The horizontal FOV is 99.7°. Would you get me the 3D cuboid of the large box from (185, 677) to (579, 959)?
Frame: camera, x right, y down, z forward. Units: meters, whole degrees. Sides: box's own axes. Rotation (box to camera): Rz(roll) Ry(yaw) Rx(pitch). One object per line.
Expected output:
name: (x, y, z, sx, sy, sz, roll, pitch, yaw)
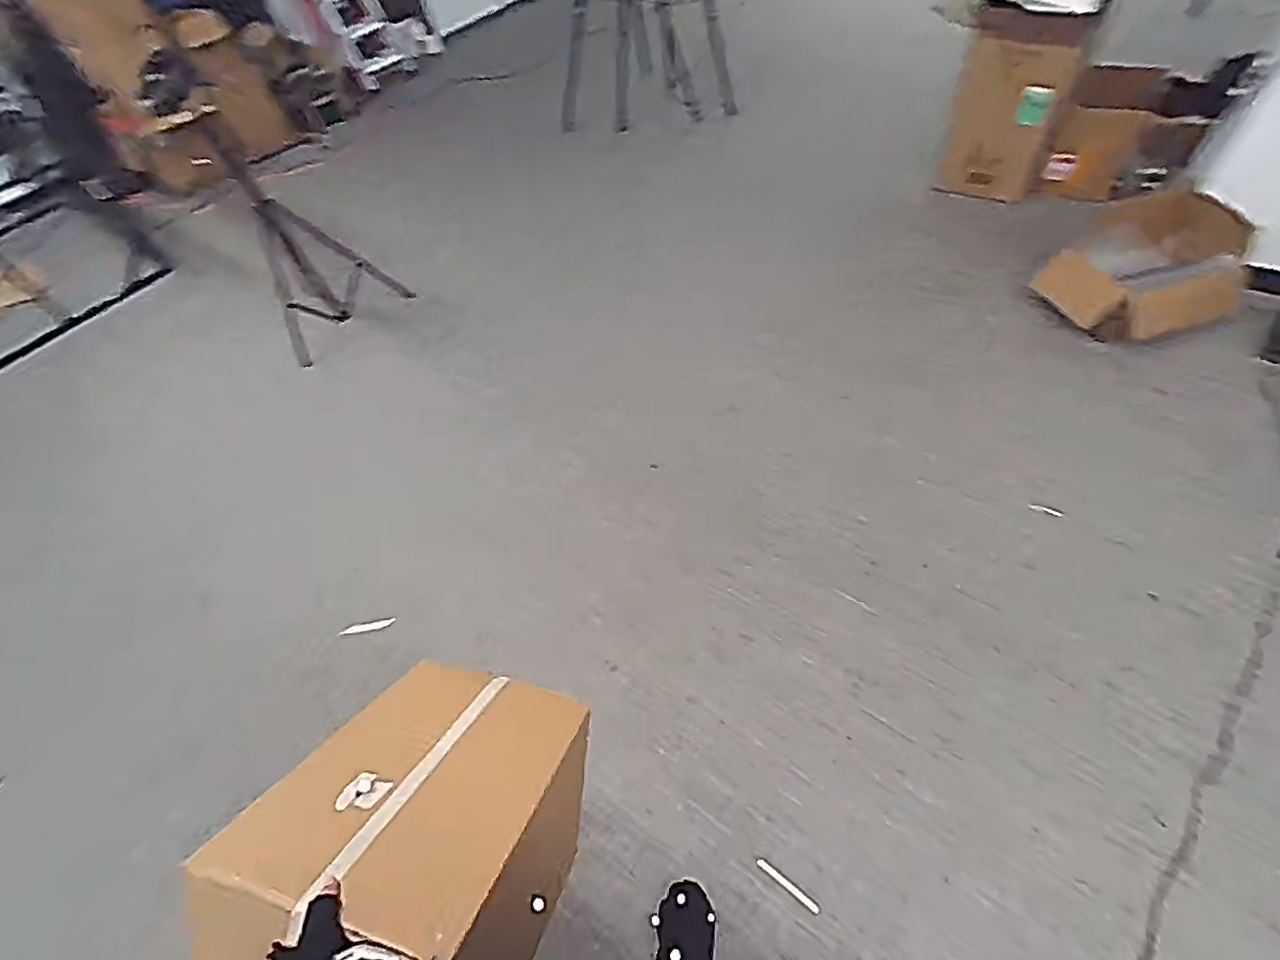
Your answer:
large box: (-0.302, 0.554, 0.758, 0.320, 0.320, 0.408, 8, 15, 12)
